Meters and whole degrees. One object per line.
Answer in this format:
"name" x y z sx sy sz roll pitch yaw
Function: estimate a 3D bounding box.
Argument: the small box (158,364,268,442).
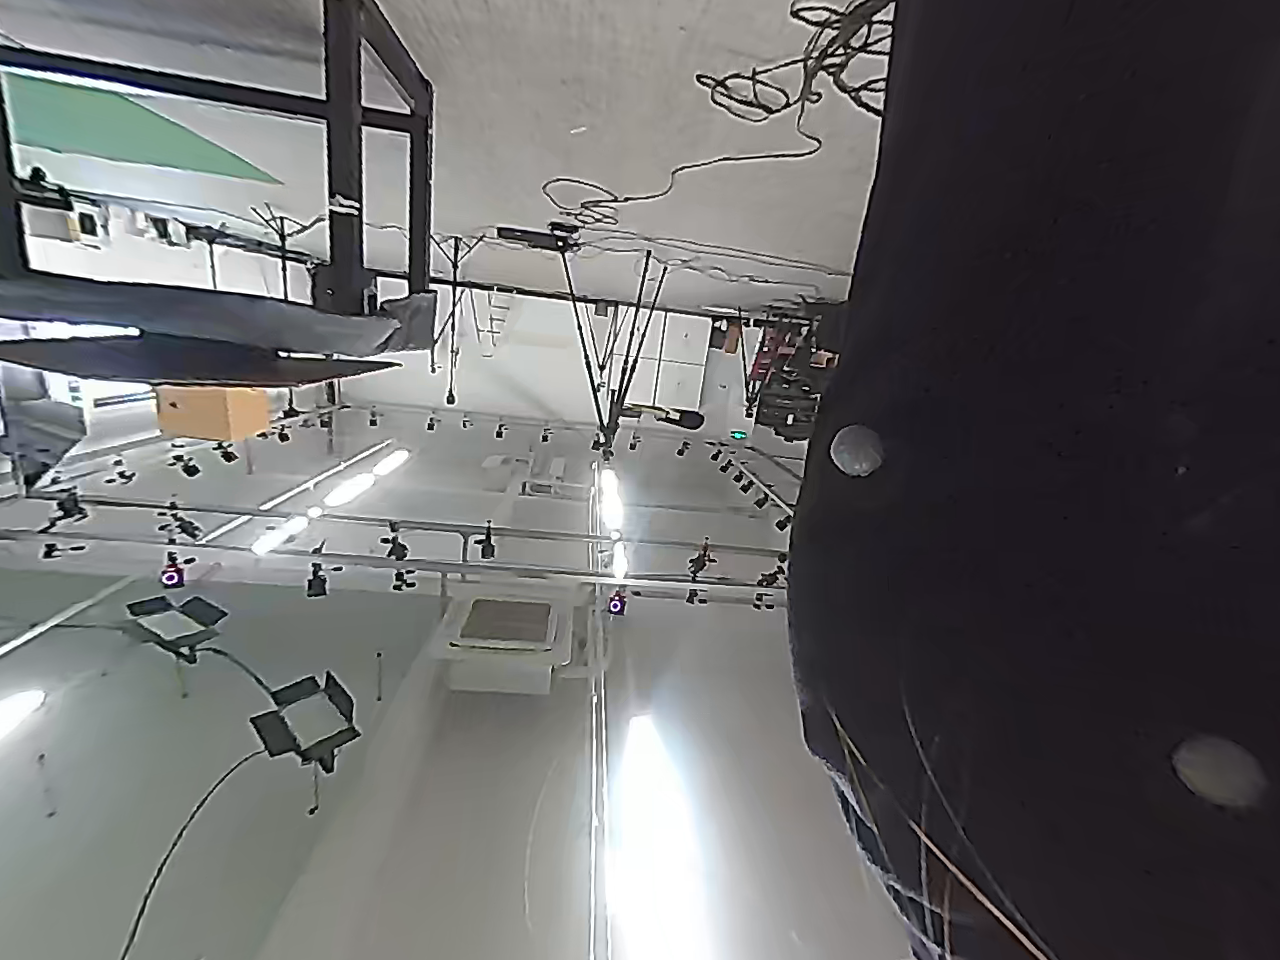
"small box" -1.115 -0.207 1.417 0.179 0.176 0.168 7 -163 -4
